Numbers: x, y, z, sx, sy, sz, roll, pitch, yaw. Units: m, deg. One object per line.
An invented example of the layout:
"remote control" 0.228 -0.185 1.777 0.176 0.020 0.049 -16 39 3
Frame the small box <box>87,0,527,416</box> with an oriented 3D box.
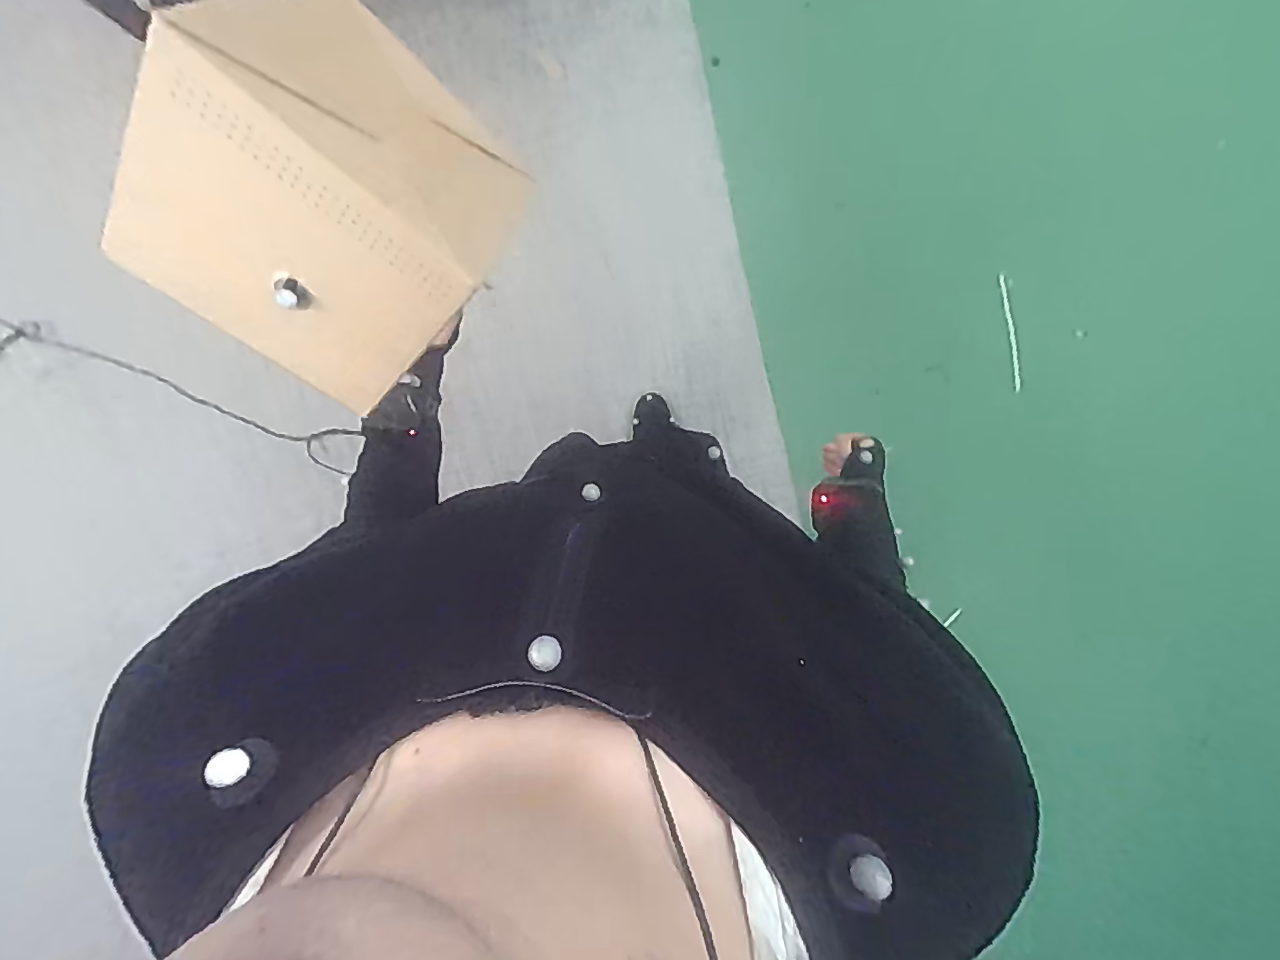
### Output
"small box" -0.207 -0.185 0.371 0.179 0.168 0.176 36 131 -28
